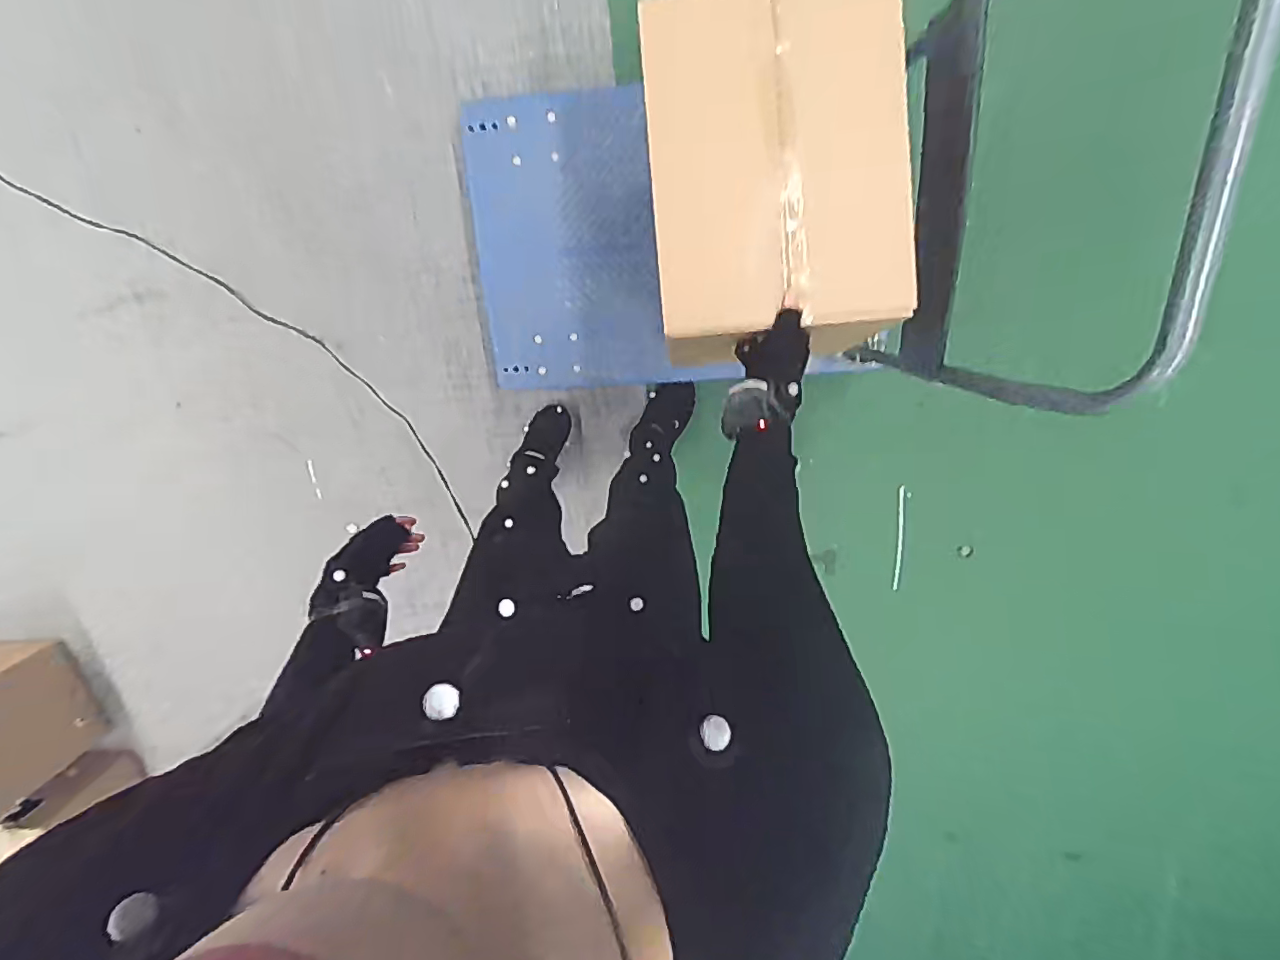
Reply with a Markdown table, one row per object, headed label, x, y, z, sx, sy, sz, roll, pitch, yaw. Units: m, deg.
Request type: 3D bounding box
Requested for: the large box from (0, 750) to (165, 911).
| label | x | y | z | sx | sy | sz | roll | pitch | yaw |
| --- | --- | --- | --- | --- | --- | --- | --- | --- | --- |
| large box | -2.046 | 1.243 | 1.939 | 0.320 | 0.320 | 0.408 | -3 | 110 | 6 |
